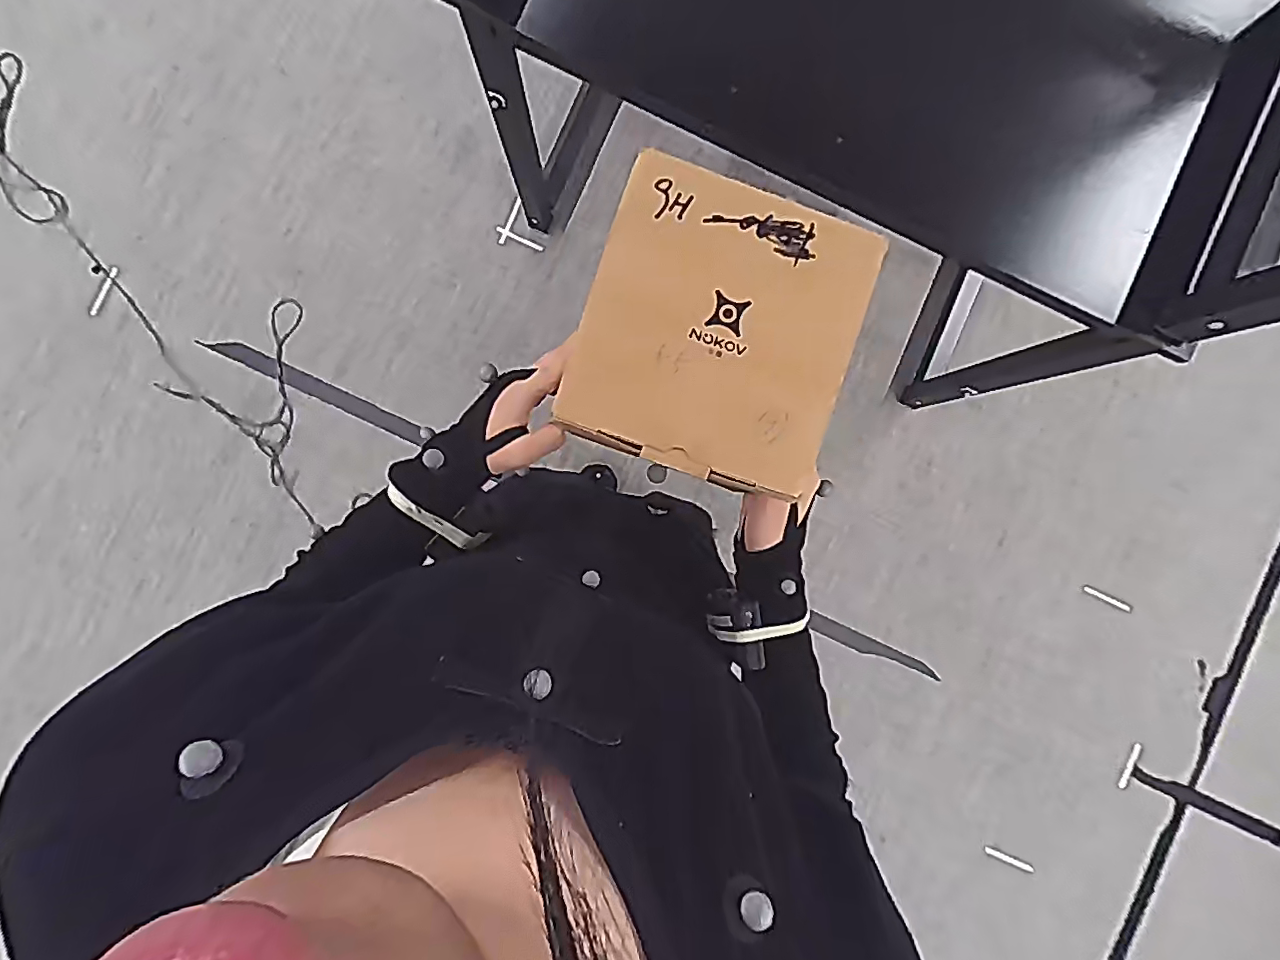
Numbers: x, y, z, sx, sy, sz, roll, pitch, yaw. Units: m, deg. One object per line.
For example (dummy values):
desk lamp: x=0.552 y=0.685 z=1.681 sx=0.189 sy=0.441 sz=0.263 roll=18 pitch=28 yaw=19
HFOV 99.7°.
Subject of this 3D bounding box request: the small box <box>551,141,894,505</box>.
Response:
small box: x=0.047 y=-0.096 z=0.404 sx=0.168 sy=0.176 sz=0.179 roll=19 pitch=92 yaw=-4
